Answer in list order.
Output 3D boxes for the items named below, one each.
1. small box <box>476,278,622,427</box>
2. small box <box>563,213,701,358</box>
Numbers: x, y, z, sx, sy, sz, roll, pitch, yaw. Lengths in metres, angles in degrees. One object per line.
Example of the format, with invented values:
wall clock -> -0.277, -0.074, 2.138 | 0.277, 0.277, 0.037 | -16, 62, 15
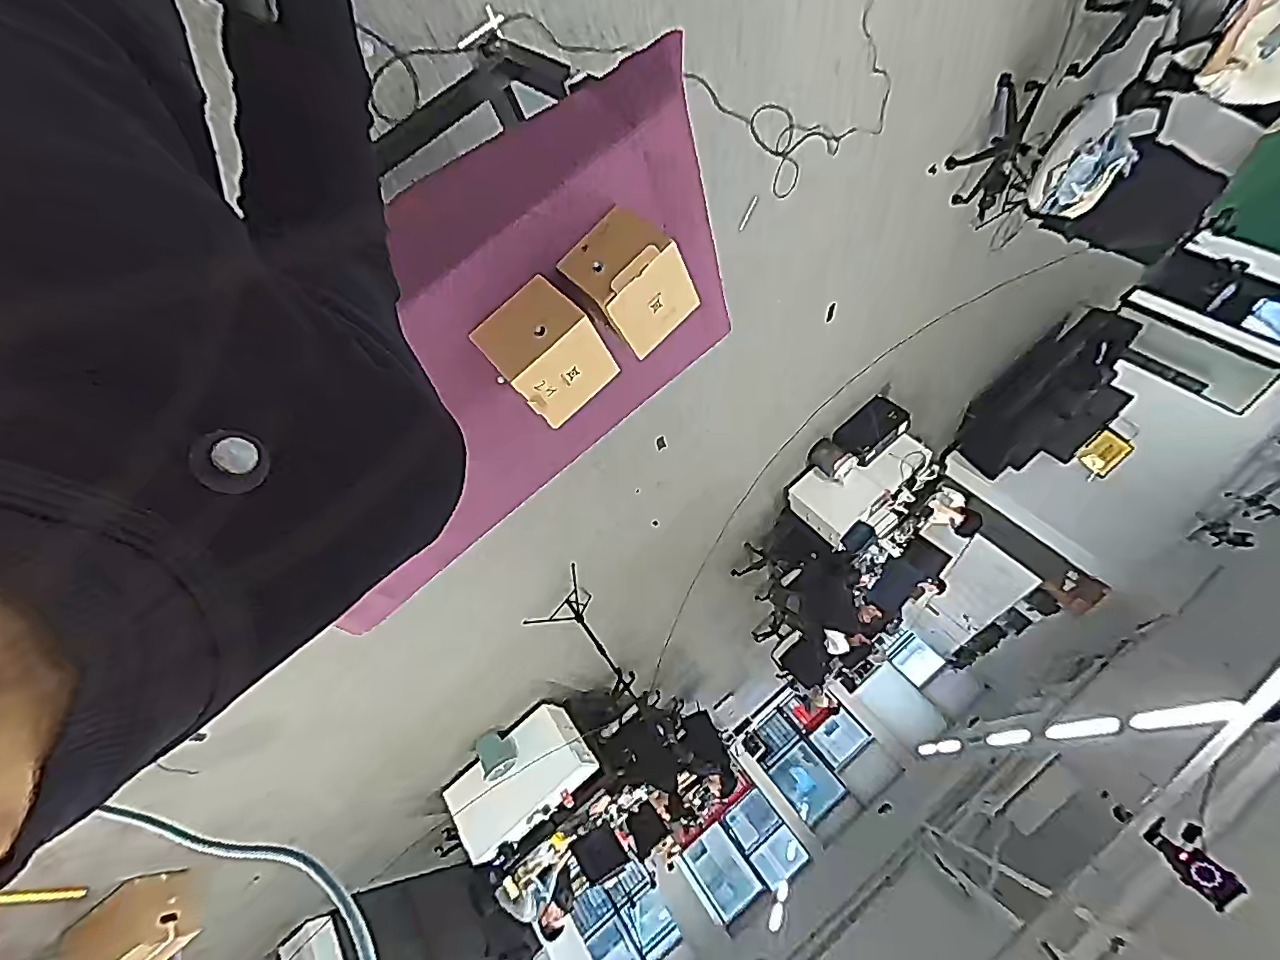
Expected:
small box -> -0.170, -0.241, 1.012 | 0.179, 0.176, 0.168 | -42, 149, -2
small box -> -0.016, -0.375, 1.029 | 0.168, 0.176, 0.179 | -43, 149, 2
